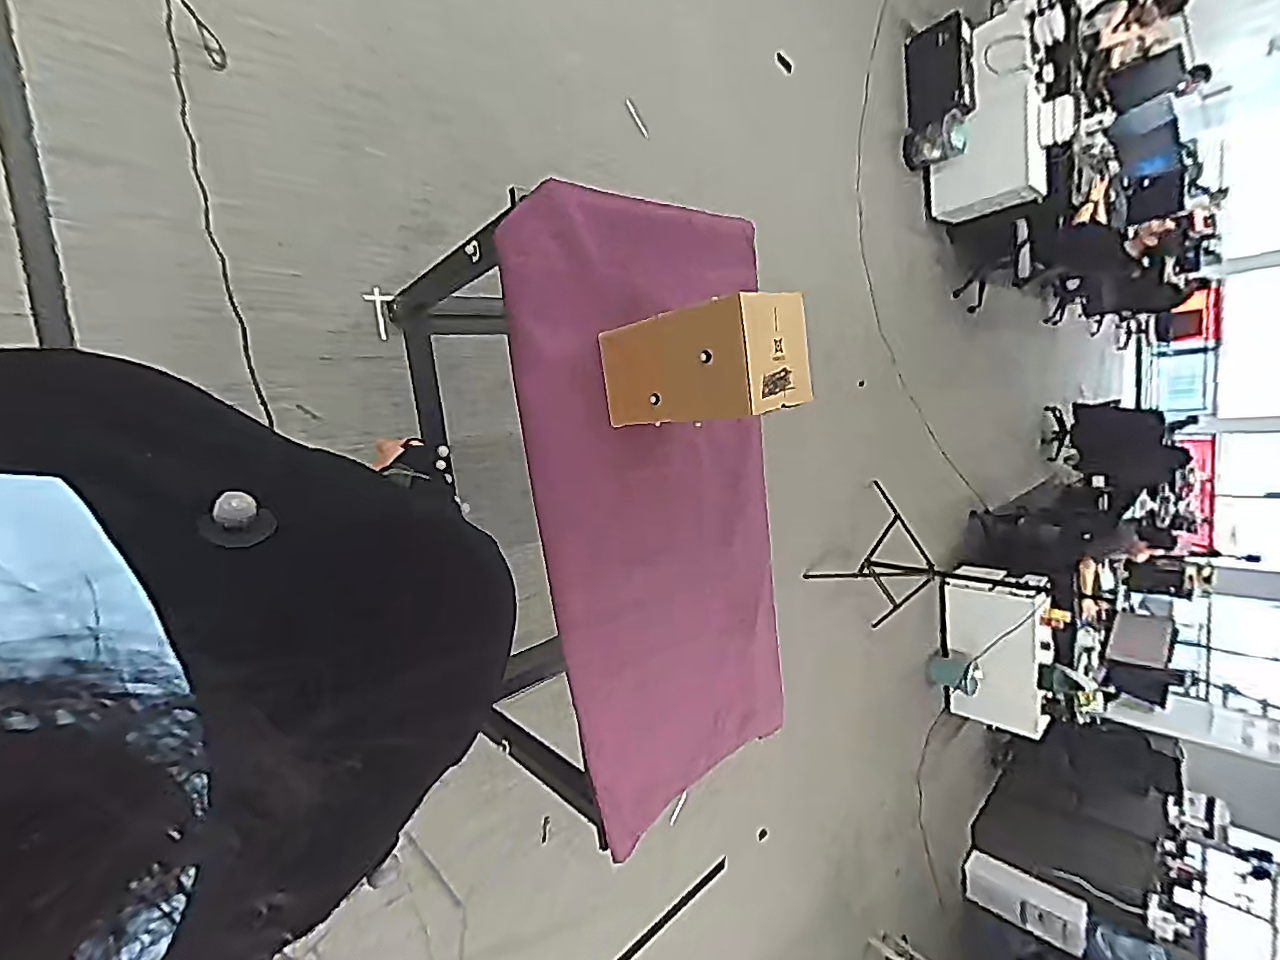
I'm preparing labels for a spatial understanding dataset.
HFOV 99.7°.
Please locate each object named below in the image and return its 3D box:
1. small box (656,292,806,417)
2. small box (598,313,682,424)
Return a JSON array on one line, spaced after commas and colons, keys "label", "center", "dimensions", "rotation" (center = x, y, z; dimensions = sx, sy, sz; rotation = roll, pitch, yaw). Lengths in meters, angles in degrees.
[{"label": "small box", "center": [0.146, -0.198, 0.879], "dimensions": [0.168, 0.176, 0.179], "rotation": [-17, 102, -41]}, {"label": "small box", "center": [0.039, -0.205, 1.004], "dimensions": [0.168, 0.176, 0.179], "rotation": [-17, 103, -41]}]
